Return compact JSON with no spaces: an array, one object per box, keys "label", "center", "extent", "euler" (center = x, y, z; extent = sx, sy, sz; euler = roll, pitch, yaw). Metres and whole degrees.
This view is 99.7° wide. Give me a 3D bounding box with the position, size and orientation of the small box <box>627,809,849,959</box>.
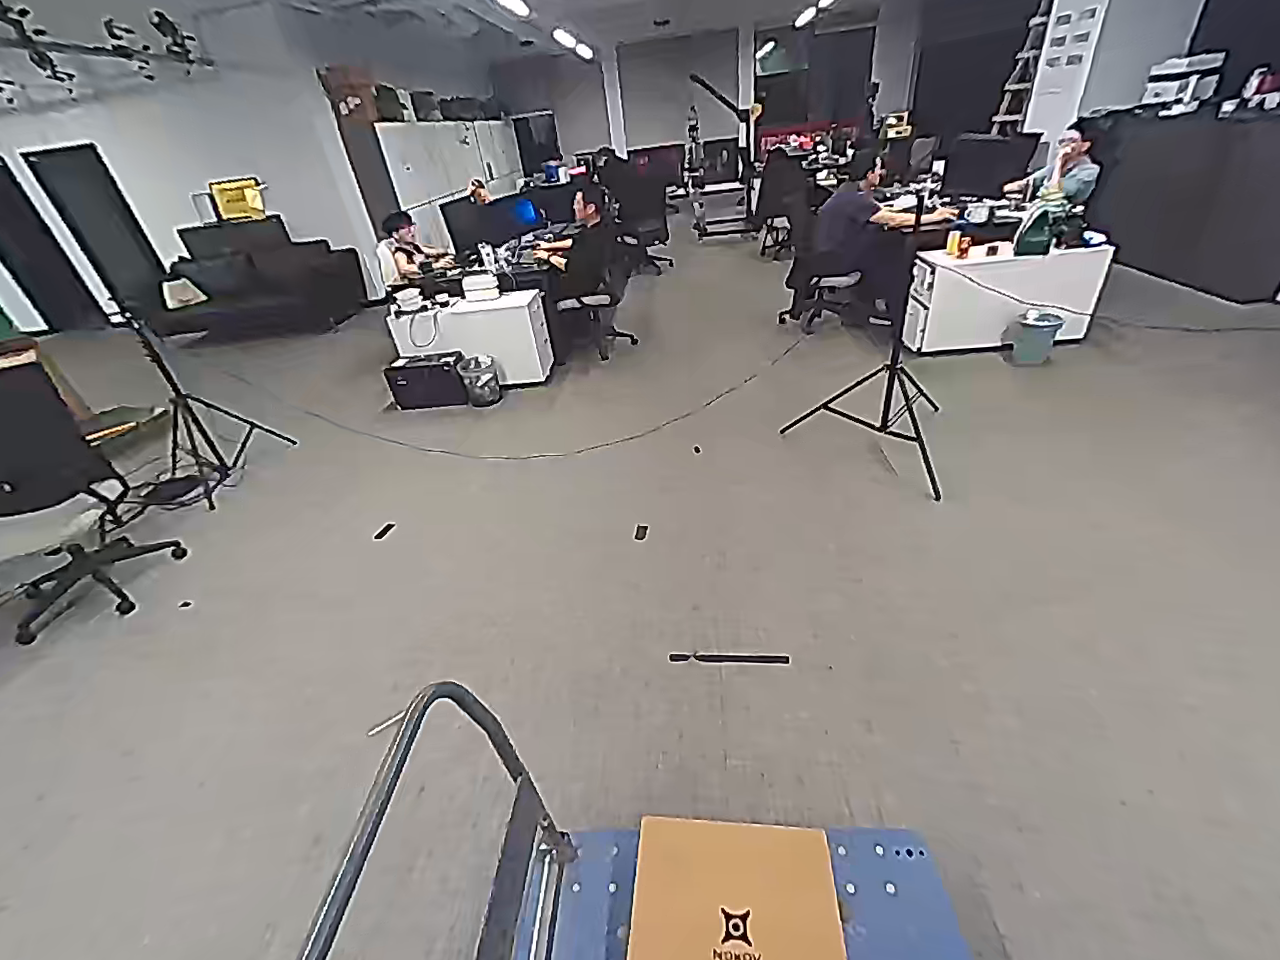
[{"label":"small box","center":[0.080,0.415,0.453],"extent":[0.168,0.176,0.179],"euler":[-1,31,8]}]
